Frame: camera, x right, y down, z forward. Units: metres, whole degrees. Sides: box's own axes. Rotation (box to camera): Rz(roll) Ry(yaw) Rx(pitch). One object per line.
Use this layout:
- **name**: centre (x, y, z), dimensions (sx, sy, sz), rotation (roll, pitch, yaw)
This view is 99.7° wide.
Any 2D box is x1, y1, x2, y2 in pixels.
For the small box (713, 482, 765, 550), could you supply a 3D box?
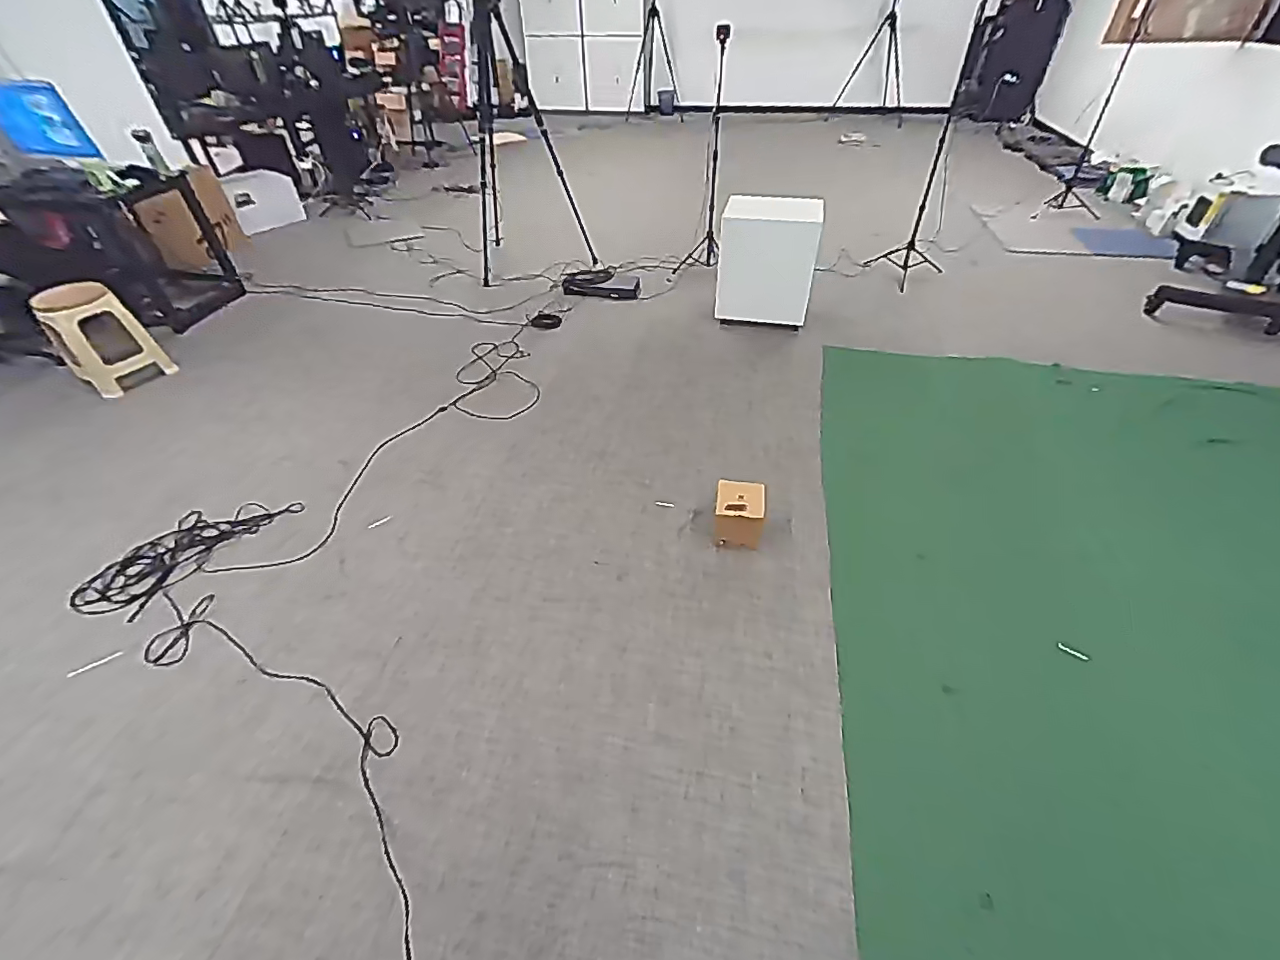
- **small box**: centre (0.355, 0.131, 1.941), dimensions (0.168, 0.176, 0.179), rotation (6, 43, 8)
